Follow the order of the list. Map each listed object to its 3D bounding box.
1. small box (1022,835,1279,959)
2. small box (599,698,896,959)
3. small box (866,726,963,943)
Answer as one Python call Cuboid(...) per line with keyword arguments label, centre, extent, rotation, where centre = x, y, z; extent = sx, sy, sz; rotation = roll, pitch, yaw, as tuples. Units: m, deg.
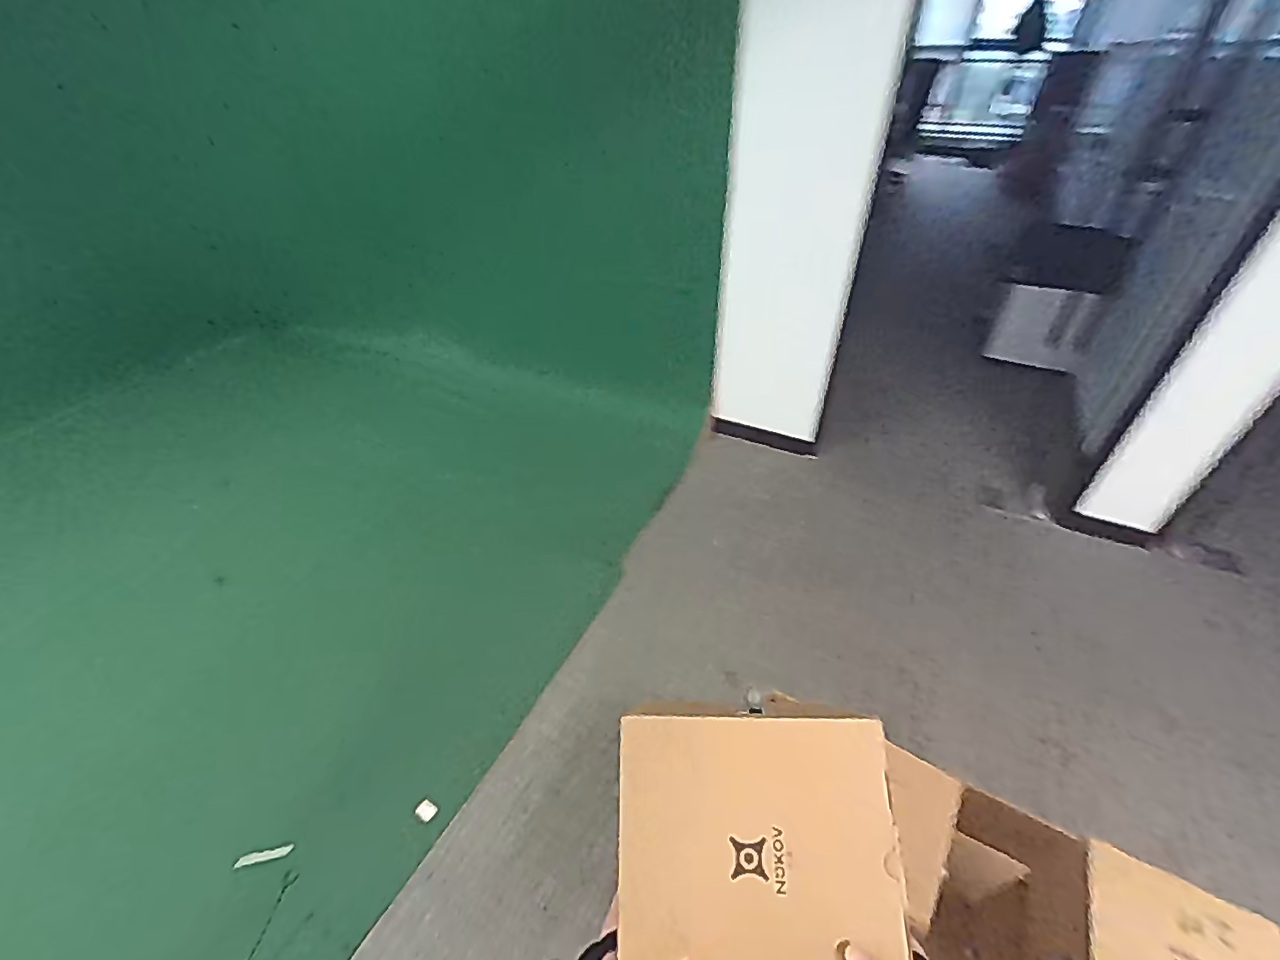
Cuboid(label="small box", centre=(0.533, 0.532, 0.571), extent=(0.168, 0.176, 0.179), rotation=(21, 47, 24))
Cuboid(label="small box", centre=(0.070, 0.261, 0.412), extent=(0.179, 0.176, 0.168), rotation=(-2, 71, 5))
Cuboid(label="small box", centre=(0.277, 0.442, 0.689), extent=(0.168, 0.176, 0.179), rotation=(25, 48, 26))
